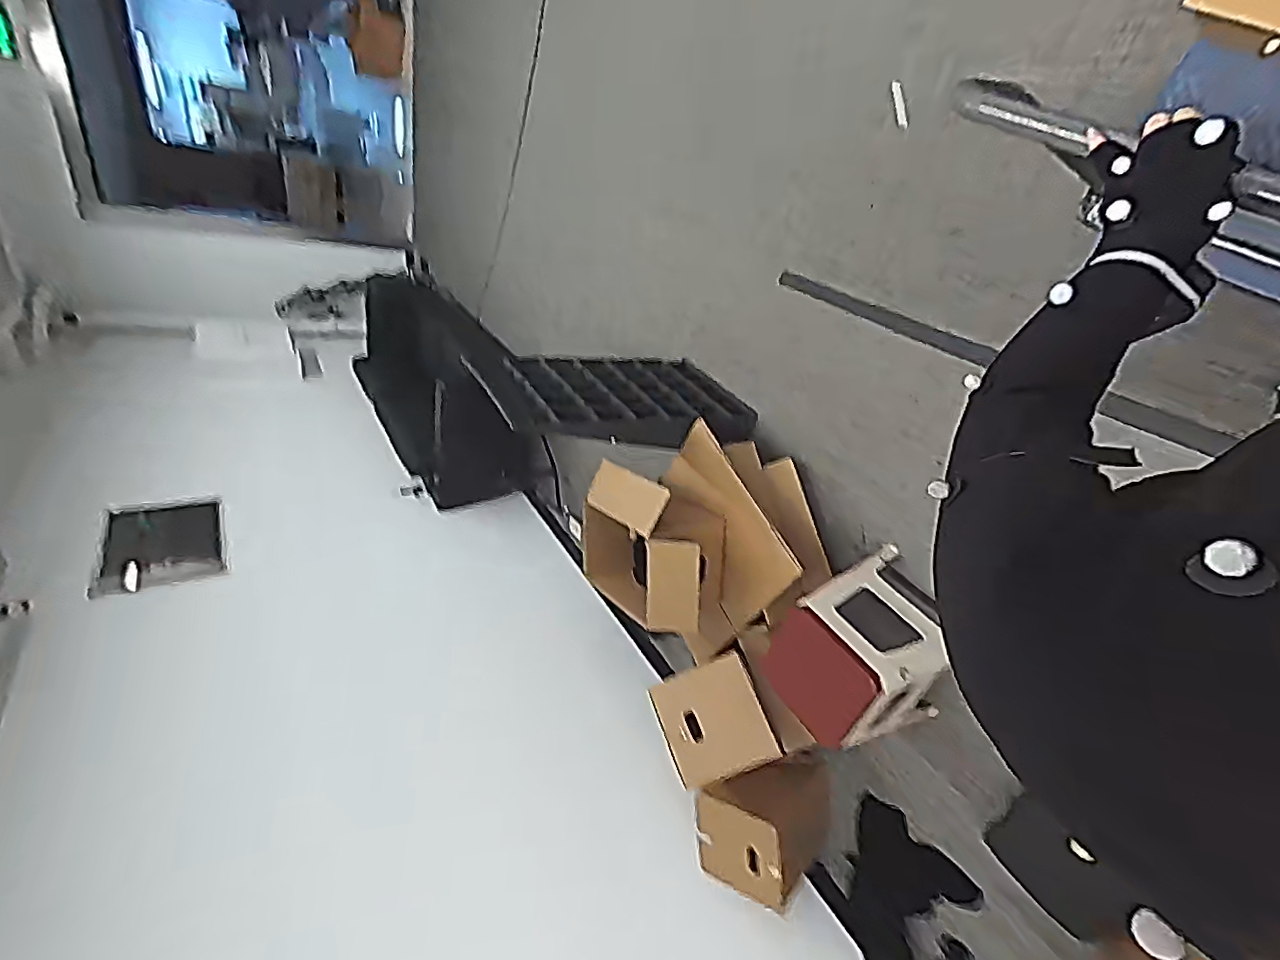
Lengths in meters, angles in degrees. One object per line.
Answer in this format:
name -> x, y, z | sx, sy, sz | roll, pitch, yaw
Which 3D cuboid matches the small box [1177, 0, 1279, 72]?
small box -> 0.935, -0.709, 0.762 | 0.179, 0.176, 0.168 | 56, 138, 30
